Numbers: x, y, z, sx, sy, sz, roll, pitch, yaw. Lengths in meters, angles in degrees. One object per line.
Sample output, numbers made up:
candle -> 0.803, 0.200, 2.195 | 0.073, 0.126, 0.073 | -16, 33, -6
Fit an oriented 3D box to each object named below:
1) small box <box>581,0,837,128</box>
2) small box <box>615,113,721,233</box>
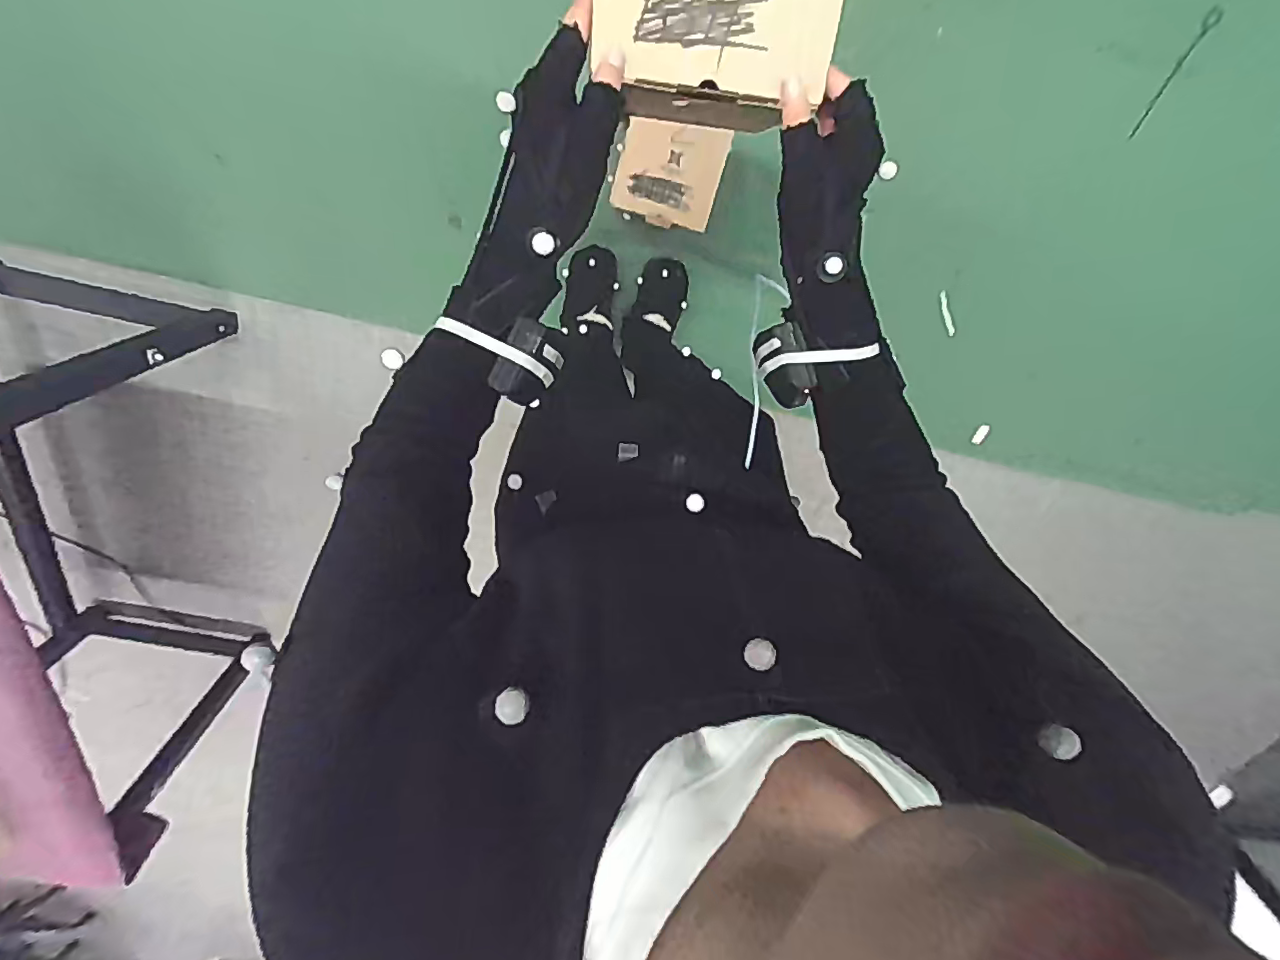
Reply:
small box -> 0.045, -0.379, 0.401 | 0.168, 0.176, 0.179 | 3, 116, -7
small box -> 0.049, -0.628, 1.103 | 0.168, 0.176, 0.179 | 14, 119, -8
